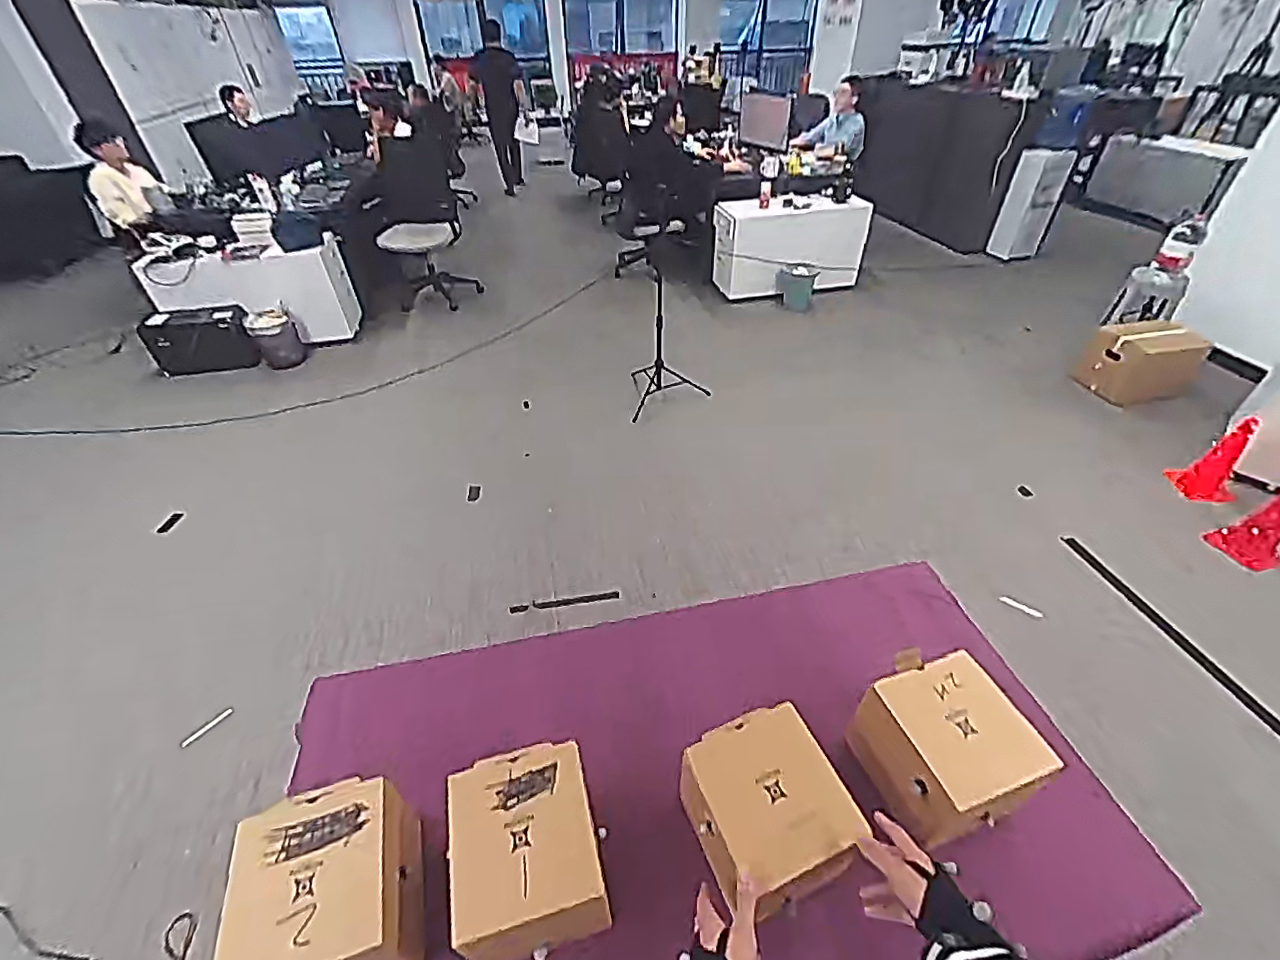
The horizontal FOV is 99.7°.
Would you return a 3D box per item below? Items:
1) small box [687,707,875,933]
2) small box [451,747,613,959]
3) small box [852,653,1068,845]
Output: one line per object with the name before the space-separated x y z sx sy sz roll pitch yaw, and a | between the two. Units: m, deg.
small box | 0.168 0.443 0.711 0.168 0.176 0.179 -17 42 -15
small box | -0.135 0.478 0.682 0.168 0.176 0.179 -12 42 -11
small box | 0.433 0.384 0.765 0.168 0.176 0.179 -14 41 -13
